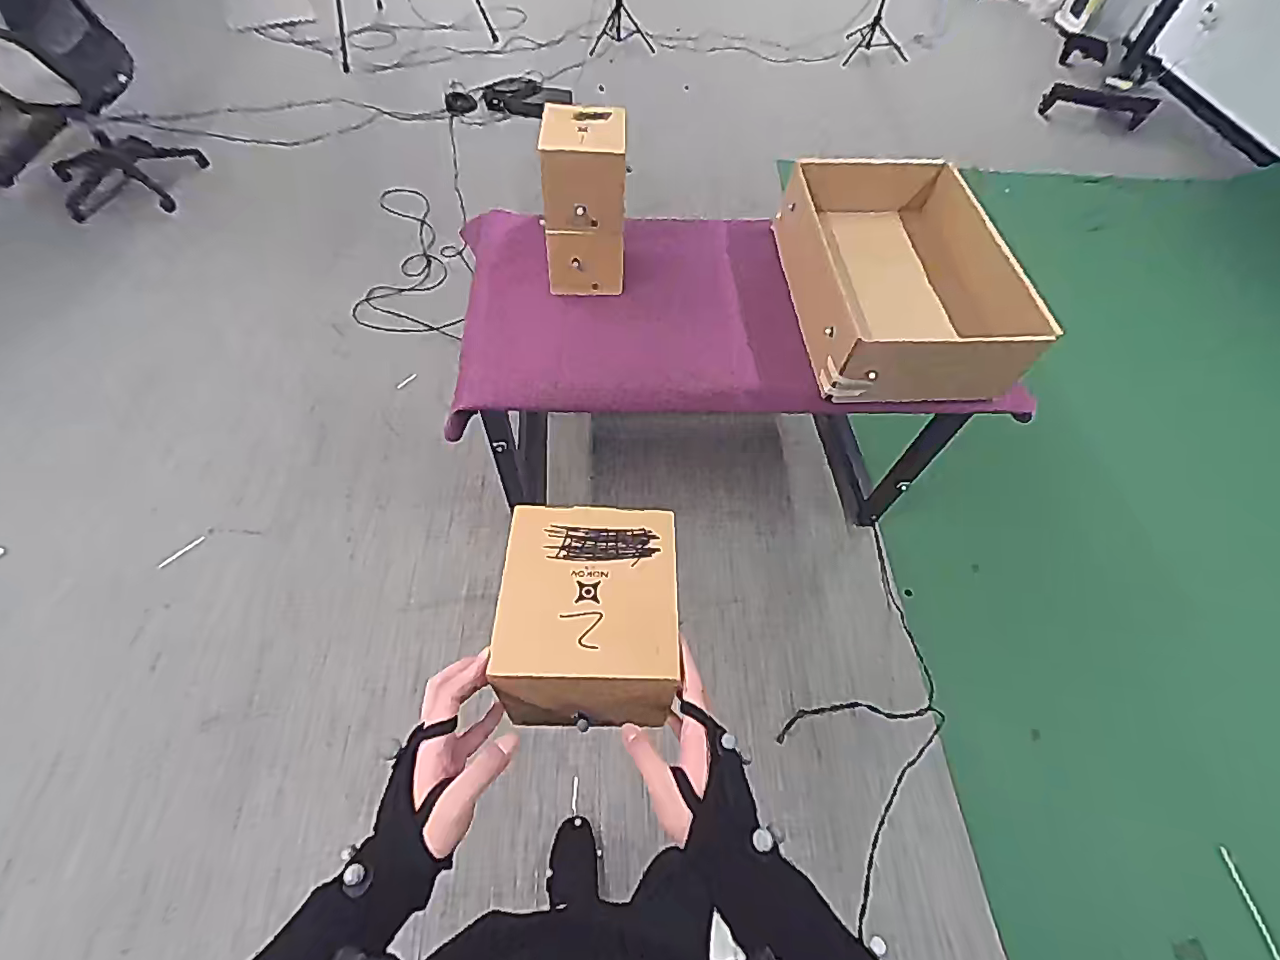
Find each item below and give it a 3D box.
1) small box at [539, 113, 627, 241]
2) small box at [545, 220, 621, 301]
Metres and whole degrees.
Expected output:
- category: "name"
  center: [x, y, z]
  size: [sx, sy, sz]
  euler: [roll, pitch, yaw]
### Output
- category: "small box"
  center: [-0.114, -0.628, 1.127]
  size: [0.168, 0.176, 0.179]
  euler: [1, 58, -3]
- category: "small box"
  center: [-0.129, -0.536, 1.263]
  size: [0.168, 0.176, 0.179]
  euler: [-2, 57, -5]
